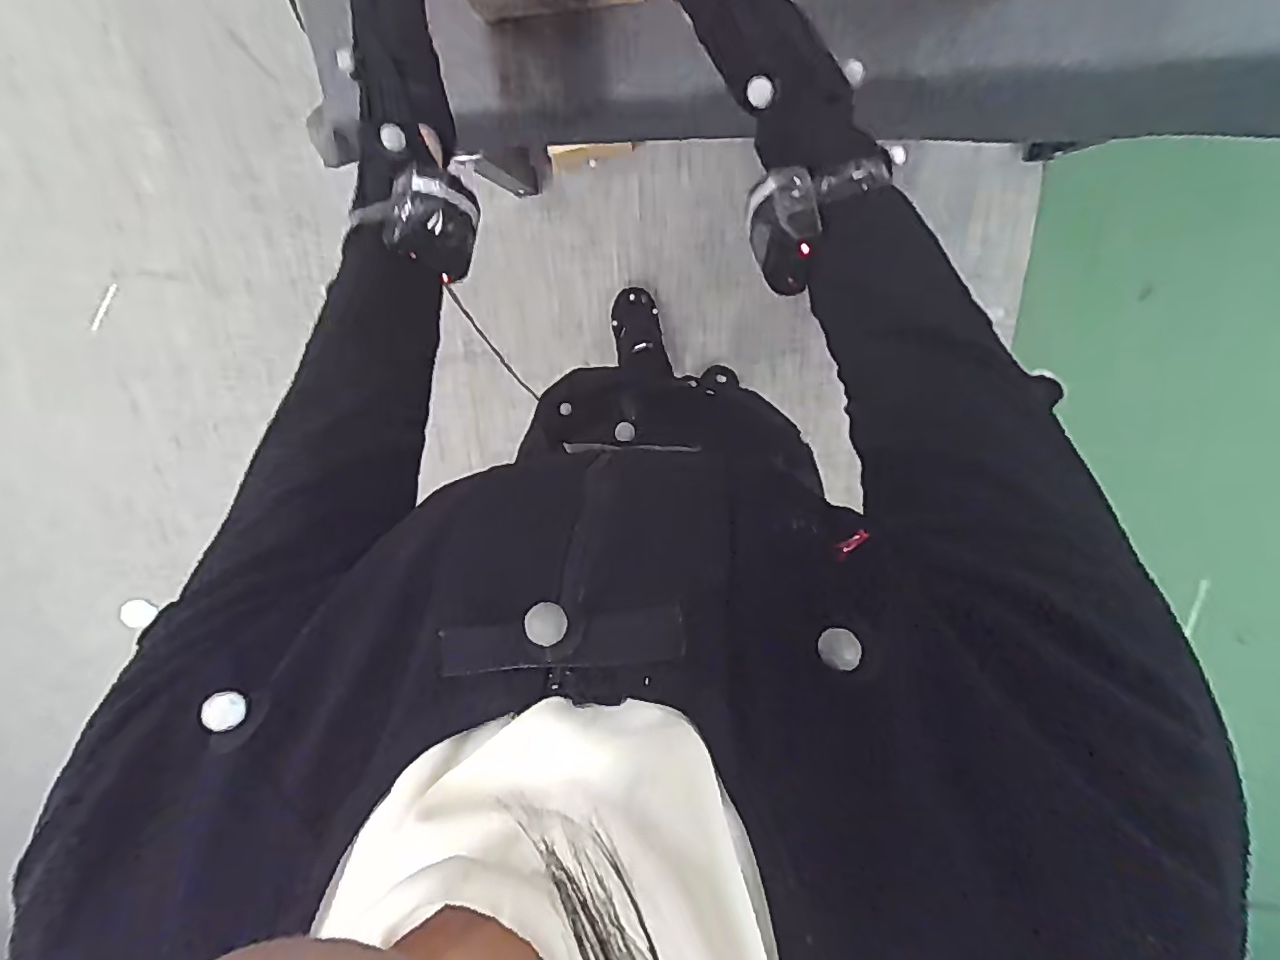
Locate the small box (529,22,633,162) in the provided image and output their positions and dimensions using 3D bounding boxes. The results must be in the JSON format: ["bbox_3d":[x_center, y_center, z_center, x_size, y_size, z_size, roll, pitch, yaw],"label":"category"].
[{"bbox_3d":[-0.110,-0.770,1.092,0.168,0.176,0.179,-9,111,5],"label":"small box"}]
